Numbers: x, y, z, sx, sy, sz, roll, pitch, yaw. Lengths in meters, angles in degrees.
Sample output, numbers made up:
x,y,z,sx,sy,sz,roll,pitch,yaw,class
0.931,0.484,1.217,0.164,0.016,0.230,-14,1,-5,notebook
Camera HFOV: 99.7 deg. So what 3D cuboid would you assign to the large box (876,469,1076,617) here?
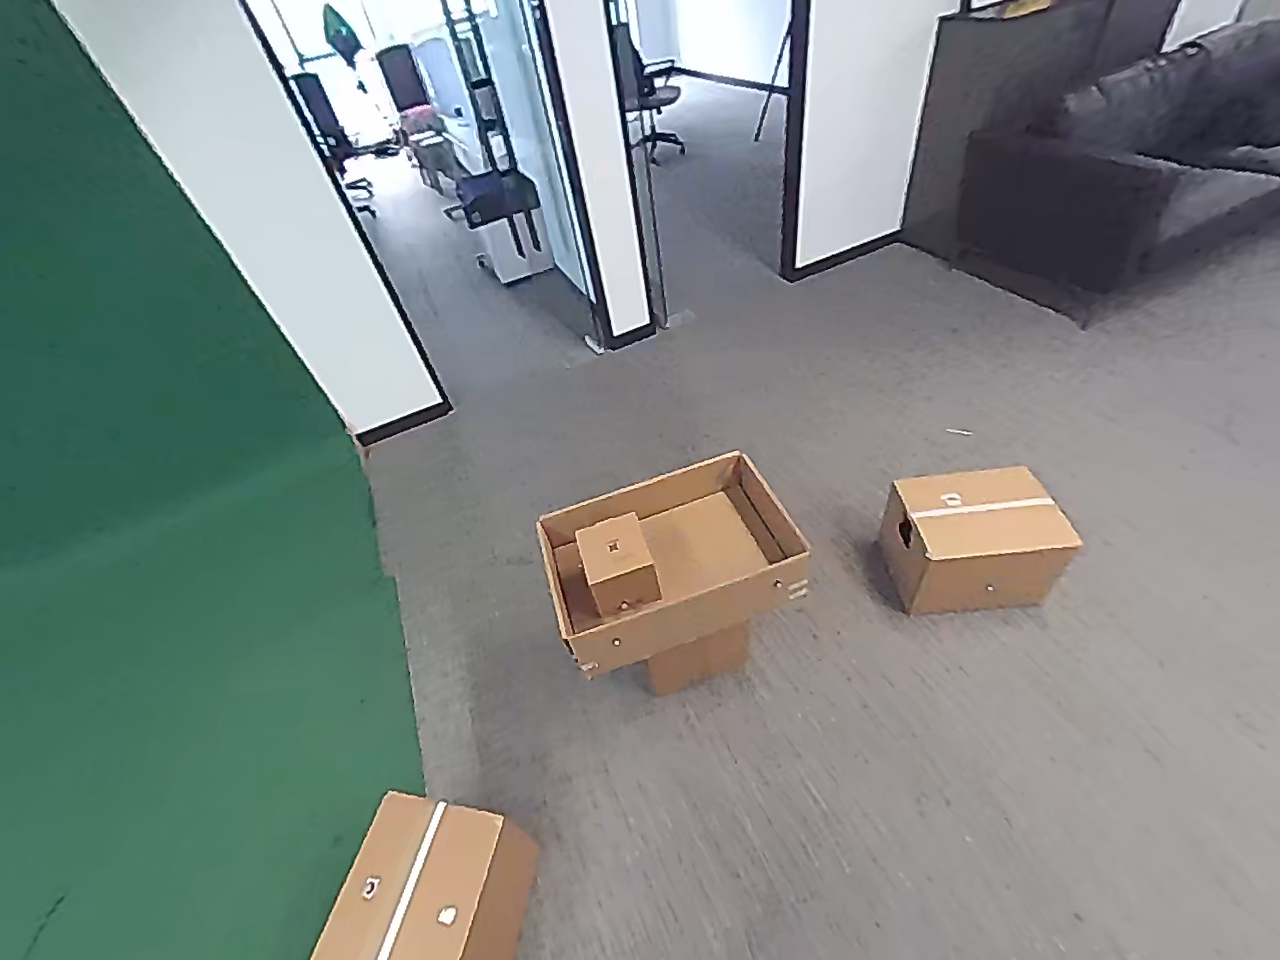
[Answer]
x,y,z,sx,sy,sz,roll,pitch,yaw,class
1.009,0.202,1.687,0.408,0.320,0.320,-7,45,5,large box
